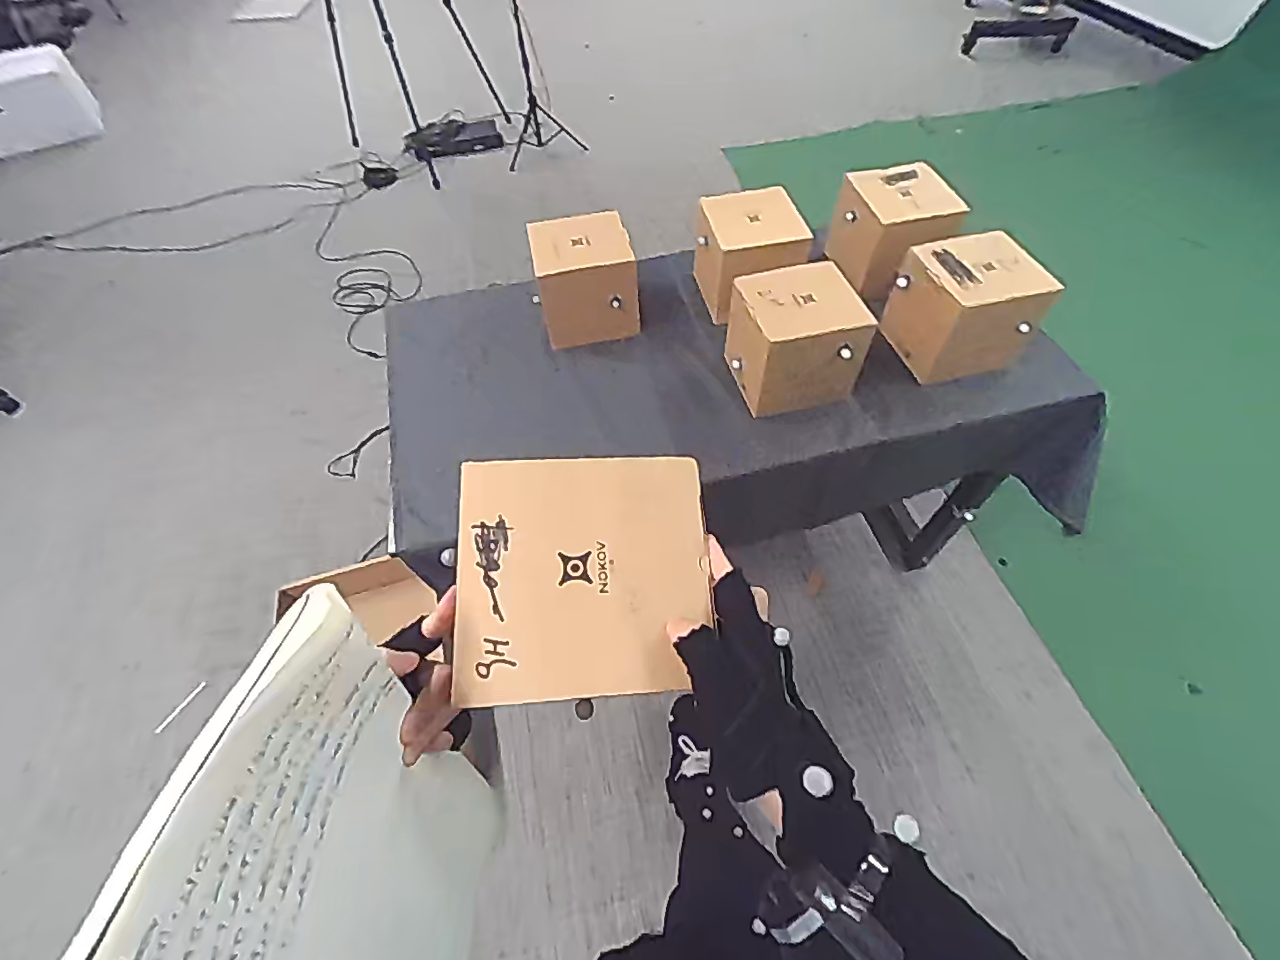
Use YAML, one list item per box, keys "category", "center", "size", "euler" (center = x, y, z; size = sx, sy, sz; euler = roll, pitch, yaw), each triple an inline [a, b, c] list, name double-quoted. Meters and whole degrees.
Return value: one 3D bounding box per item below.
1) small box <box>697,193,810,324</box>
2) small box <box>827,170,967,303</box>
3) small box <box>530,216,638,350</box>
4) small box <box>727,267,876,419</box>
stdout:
- category: "small box"
  center: [0.210, -0.422, 1.051]
  size: [0.168, 0.176, 0.179]
  euler: [-10, 56, -4]
- category: "small box"
  center: [0.493, -0.480, 1.072]
  size: [0.168, 0.176, 0.179]
  euler: [-11, 56, -4]
- category: "small box"
  center: [-0.103, -0.370, 1.027]
  size: [0.179, 0.176, 0.168]
  euler: [-10, 56, -6]
- category: "small box"
  center: [0.258, -0.226, 0.911]
  size: [0.179, 0.176, 0.168]
  euler: [-12, 55, -5]
